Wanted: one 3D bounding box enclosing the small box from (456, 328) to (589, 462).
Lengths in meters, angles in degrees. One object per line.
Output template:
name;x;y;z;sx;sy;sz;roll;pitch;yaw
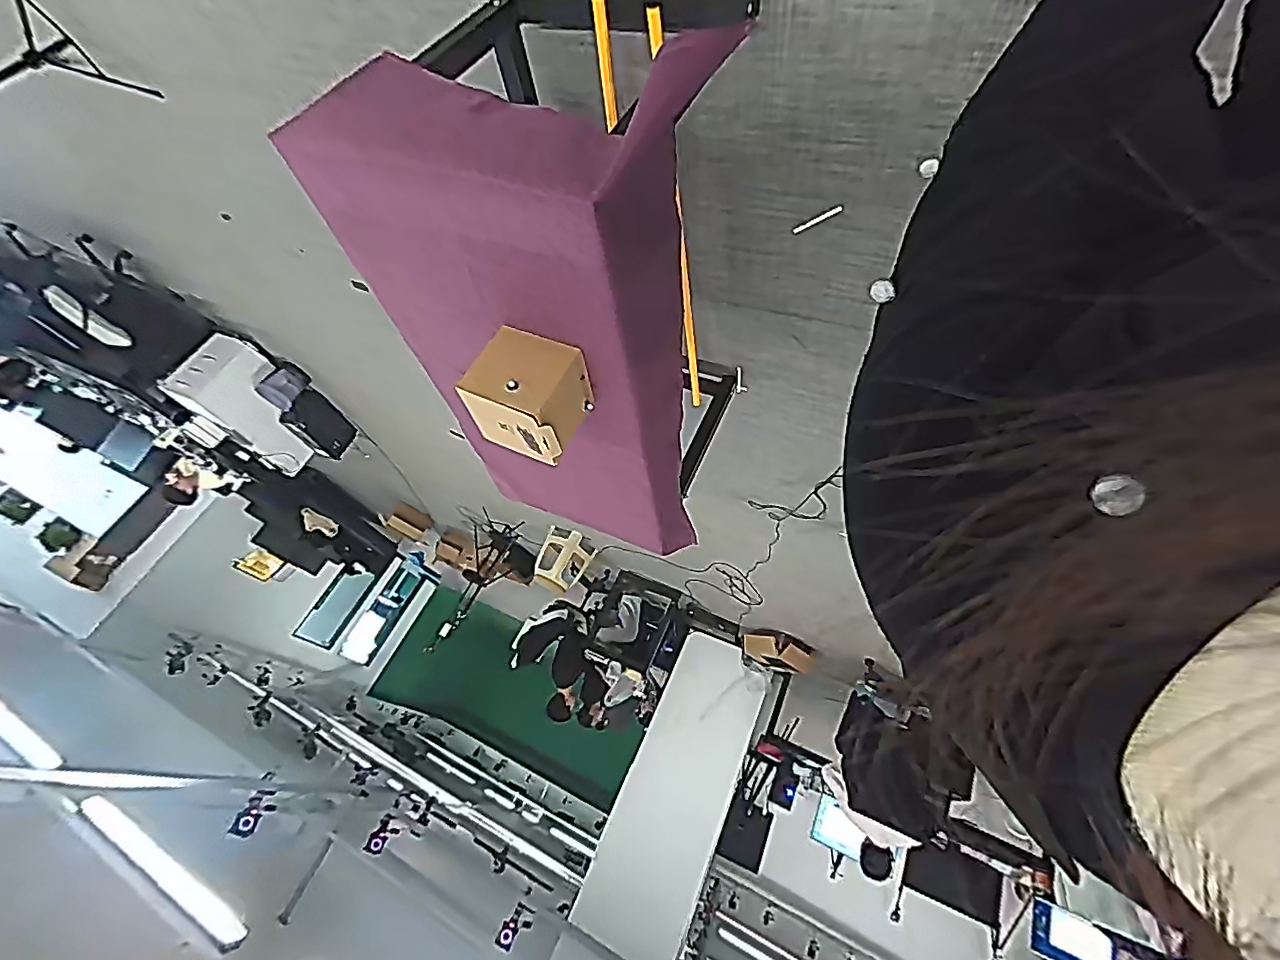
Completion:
small box;-0.213;-0.167;1.047;0.179;0.176;0.168;21;155;16
